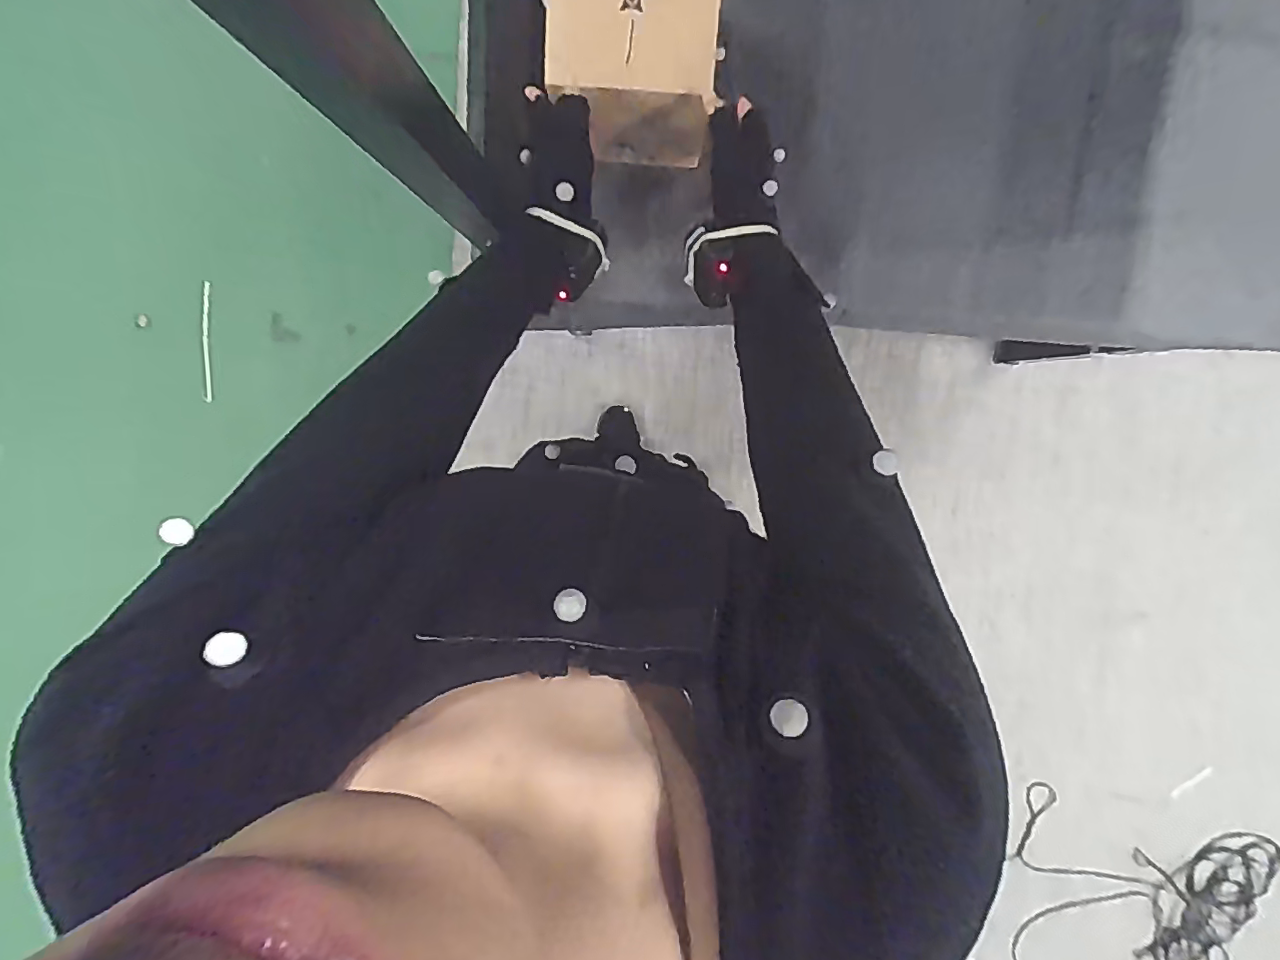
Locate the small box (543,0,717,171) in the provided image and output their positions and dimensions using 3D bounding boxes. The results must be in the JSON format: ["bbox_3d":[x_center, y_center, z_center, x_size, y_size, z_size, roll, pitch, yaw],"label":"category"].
[{"bbox_3d":[-0.008,-0.475,0.597,0.168,0.176,0.179,4,98,0],"label":"small box"}]
